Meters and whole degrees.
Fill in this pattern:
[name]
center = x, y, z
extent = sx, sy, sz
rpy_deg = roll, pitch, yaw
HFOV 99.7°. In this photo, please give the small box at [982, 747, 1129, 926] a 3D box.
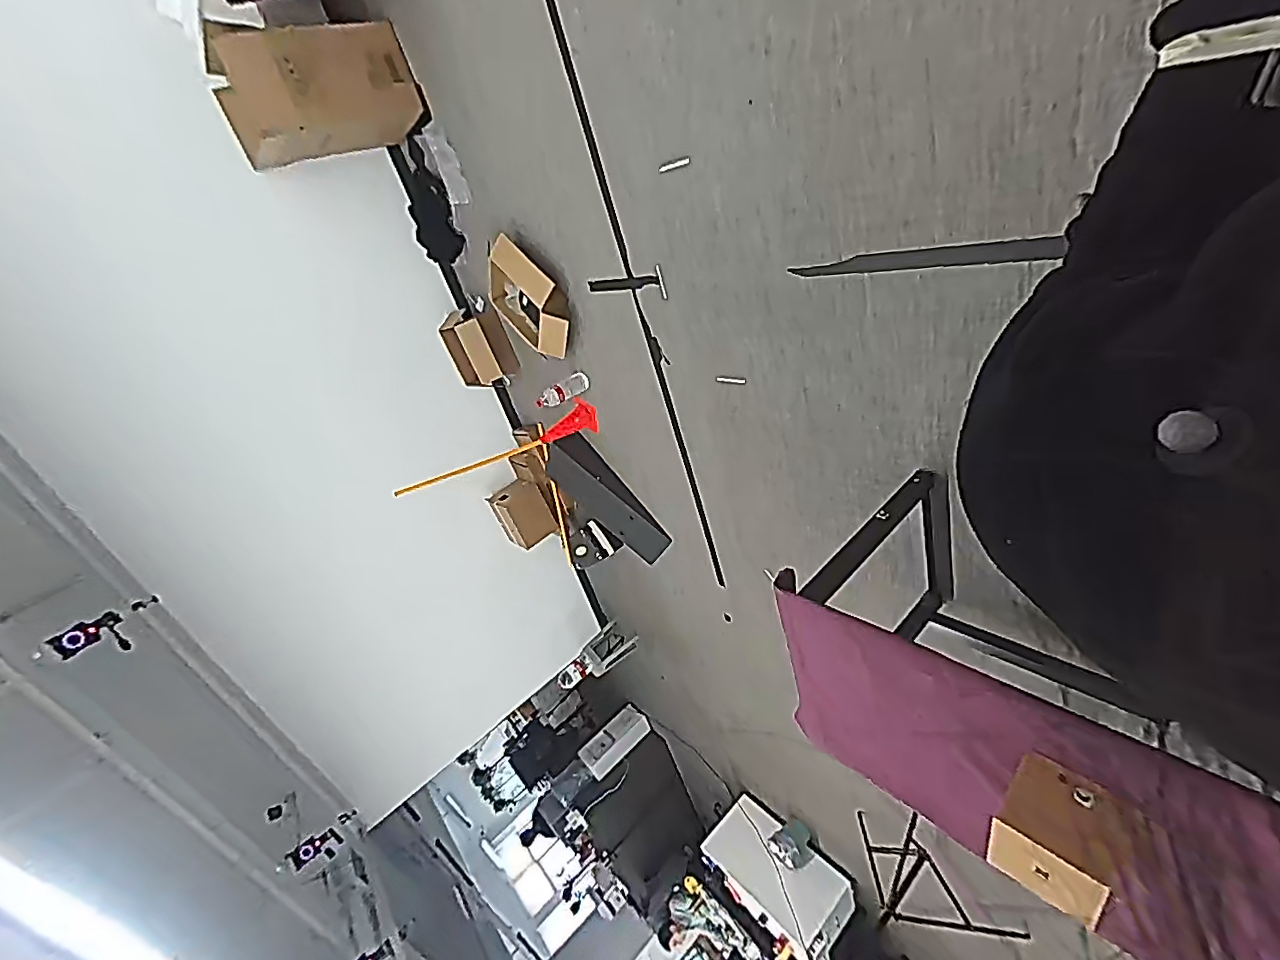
[small box]
center = 0.745, 0.633, 0.976
extent = 0.168, 0.176, 0.179
rpy_deg = 20, 136, 46
